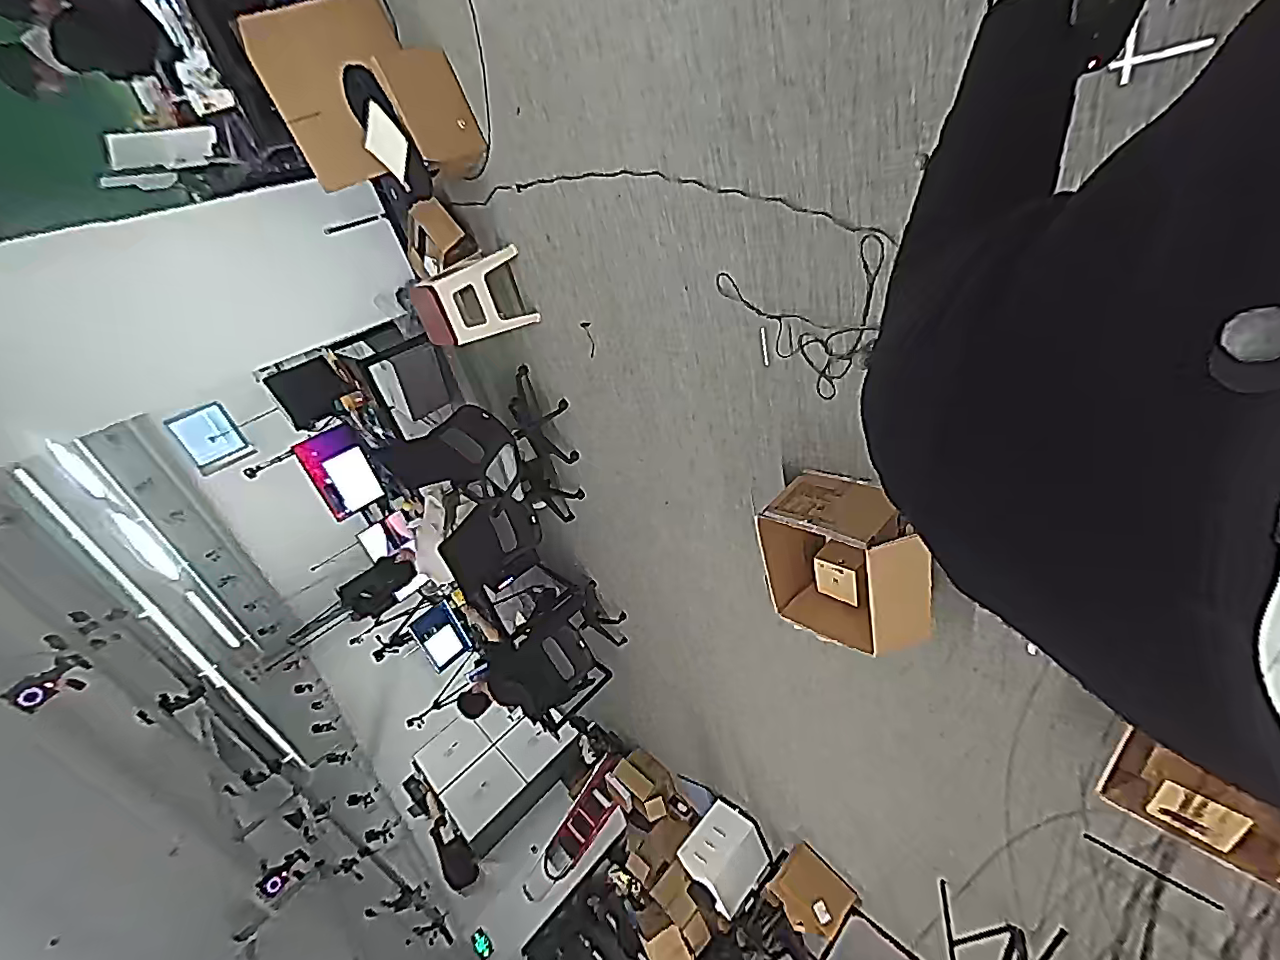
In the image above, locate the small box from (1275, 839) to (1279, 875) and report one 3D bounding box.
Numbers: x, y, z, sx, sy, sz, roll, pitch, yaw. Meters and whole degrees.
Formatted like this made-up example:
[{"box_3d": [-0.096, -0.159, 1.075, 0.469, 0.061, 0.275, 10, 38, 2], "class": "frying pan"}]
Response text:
[{"box_3d": [1.711, 0.915, 1.308, 0.179, 0.176, 0.168, 24, 137, 42], "class": "small box"}]
